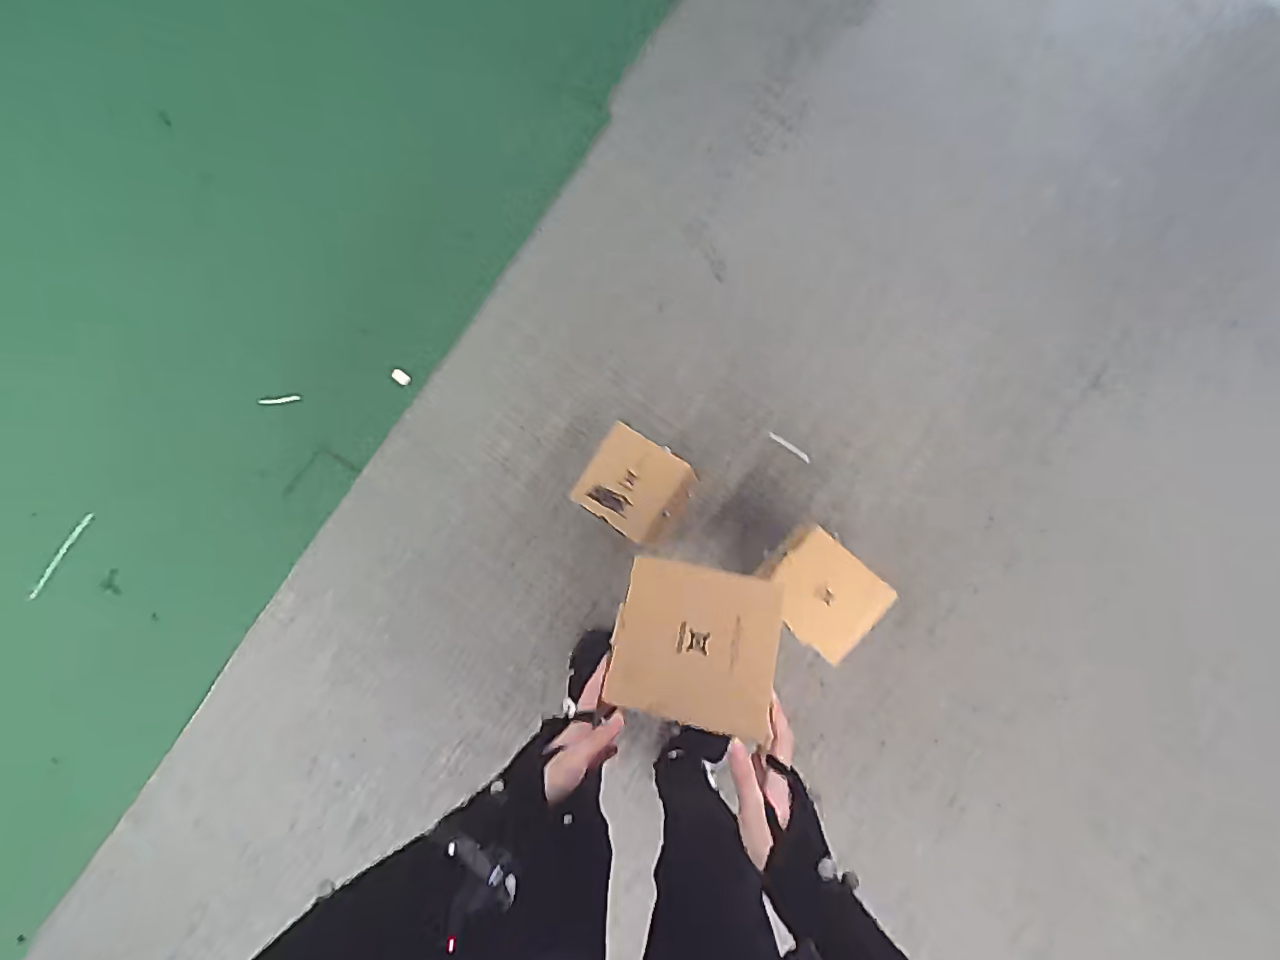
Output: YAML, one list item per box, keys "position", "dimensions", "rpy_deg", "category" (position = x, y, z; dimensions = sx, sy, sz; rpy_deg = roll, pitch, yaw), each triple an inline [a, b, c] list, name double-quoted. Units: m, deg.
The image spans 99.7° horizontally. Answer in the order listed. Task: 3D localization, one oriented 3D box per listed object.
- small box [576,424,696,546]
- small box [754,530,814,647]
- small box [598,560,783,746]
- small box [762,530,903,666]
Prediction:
- position: [0.003, 0.018, 1.083]
  dimensions: [0.168, 0.176, 0.179]
  rpy_deg: [33, 89, 11]
  category: "small box"
- position: [0.358, 0.225, 1.164]
  dimensions: [0.168, 0.176, 0.179]
  rpy_deg: [43, 94, 11]
  category: "small box"
- position: [0.066, 0.209, 0.652]
  dimensions: [0.179, 0.176, 0.168]
  rpy_deg: [9, 69, 11]
  category: "small box"
- position: [0.342, 0.207, 1.003]
  dimensions: [0.179, 0.176, 0.168]
  rpy_deg: [41, 92, 12]
  category: "small box"
